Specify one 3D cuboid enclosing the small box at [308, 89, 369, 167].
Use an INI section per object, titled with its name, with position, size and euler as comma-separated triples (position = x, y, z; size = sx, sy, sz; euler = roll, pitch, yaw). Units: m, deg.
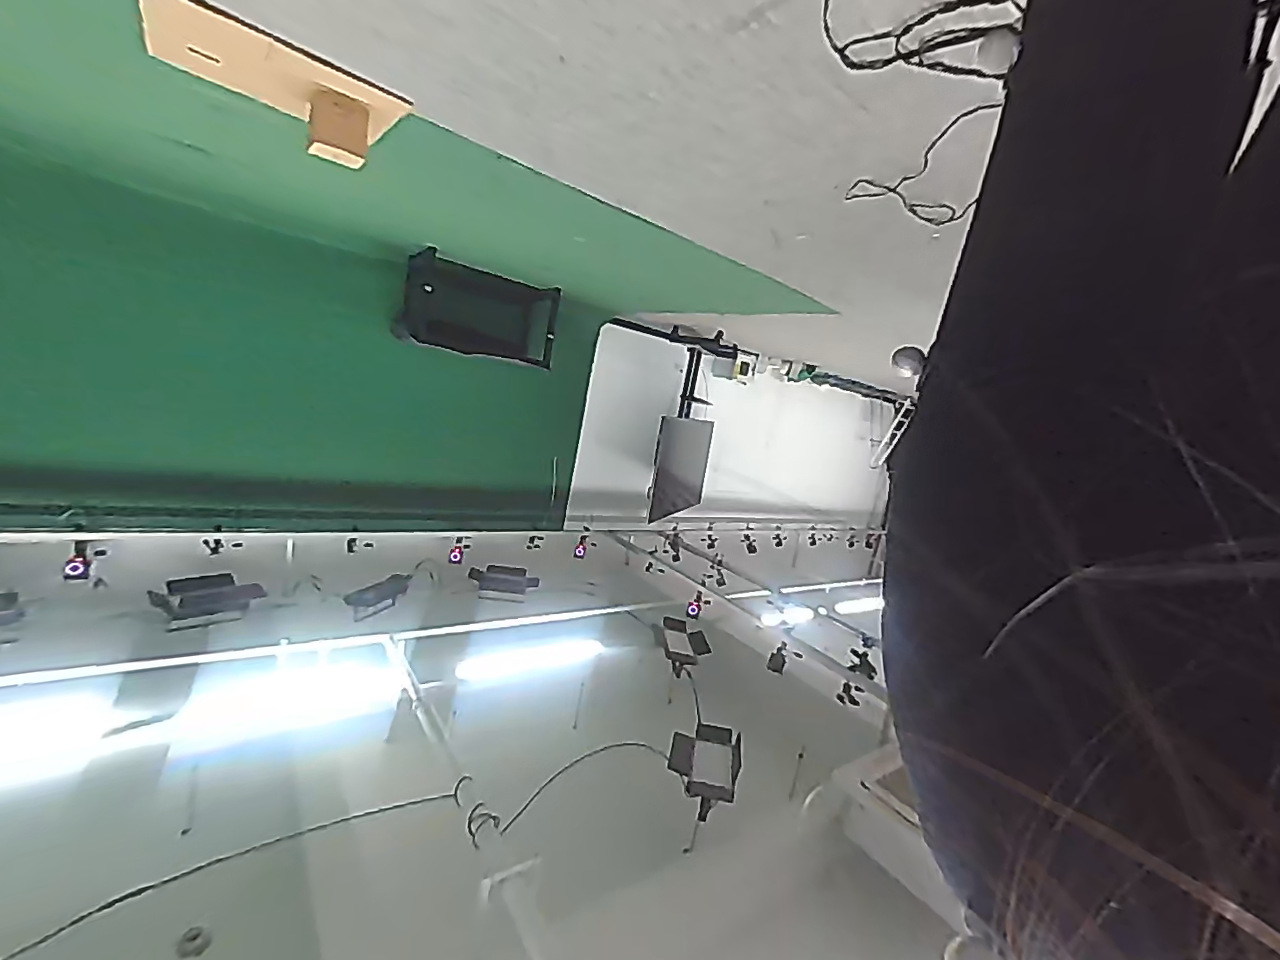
[small box]
position = -1.093, -1.271, 1.960
size = 0.168, 0.176, 0.179
euler = 2, -167, -39
